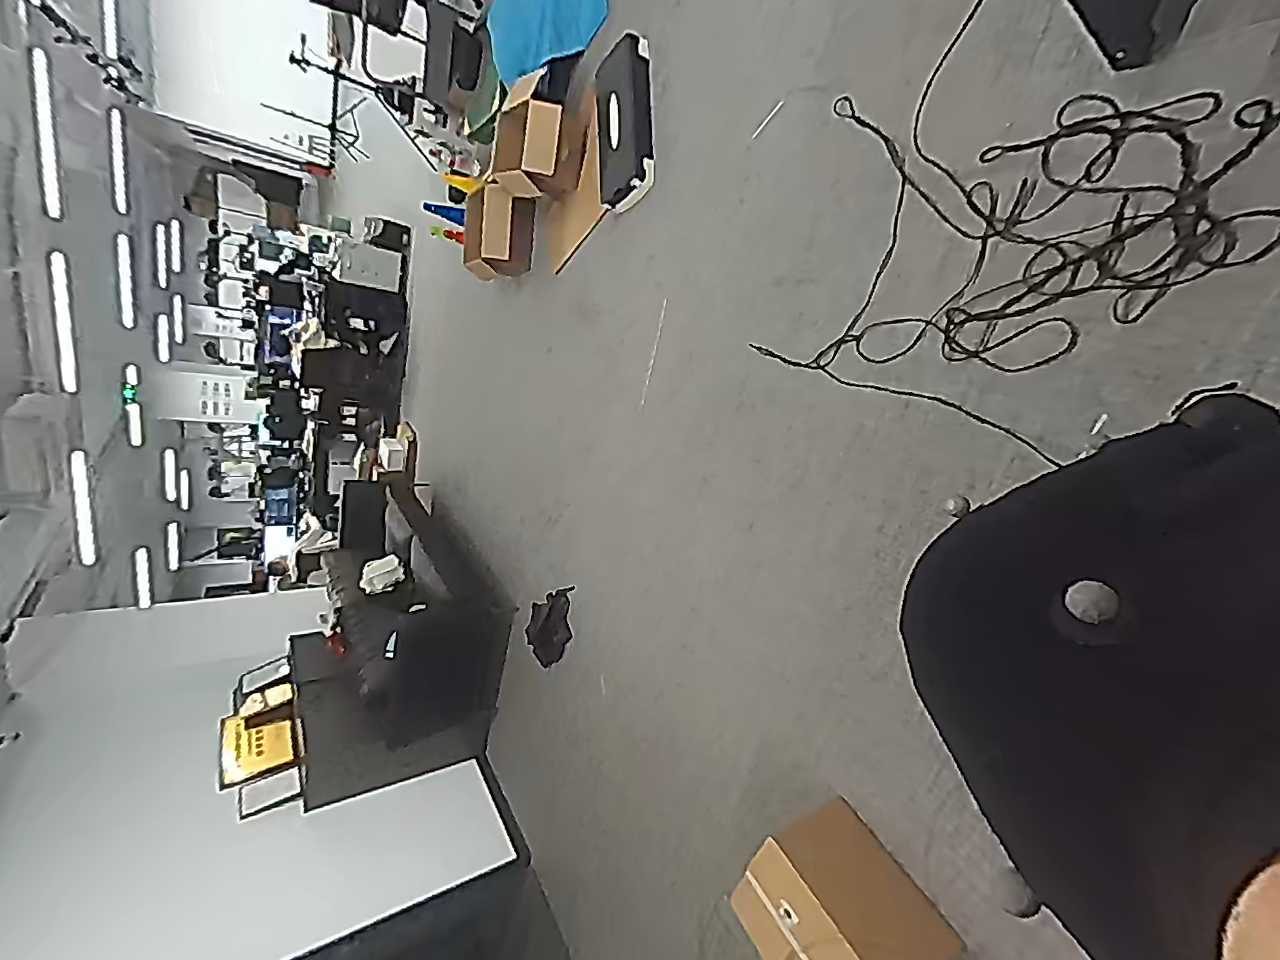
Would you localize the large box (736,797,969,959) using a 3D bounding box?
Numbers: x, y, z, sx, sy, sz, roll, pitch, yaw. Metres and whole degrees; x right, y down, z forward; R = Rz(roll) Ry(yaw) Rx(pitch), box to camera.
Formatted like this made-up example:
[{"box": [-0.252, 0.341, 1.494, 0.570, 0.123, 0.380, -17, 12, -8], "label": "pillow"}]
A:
[{"box": [0.534, 1.145, 1.409, 0.408, 0.320, 0.320, 45, 125, 46], "label": "large box"}]
